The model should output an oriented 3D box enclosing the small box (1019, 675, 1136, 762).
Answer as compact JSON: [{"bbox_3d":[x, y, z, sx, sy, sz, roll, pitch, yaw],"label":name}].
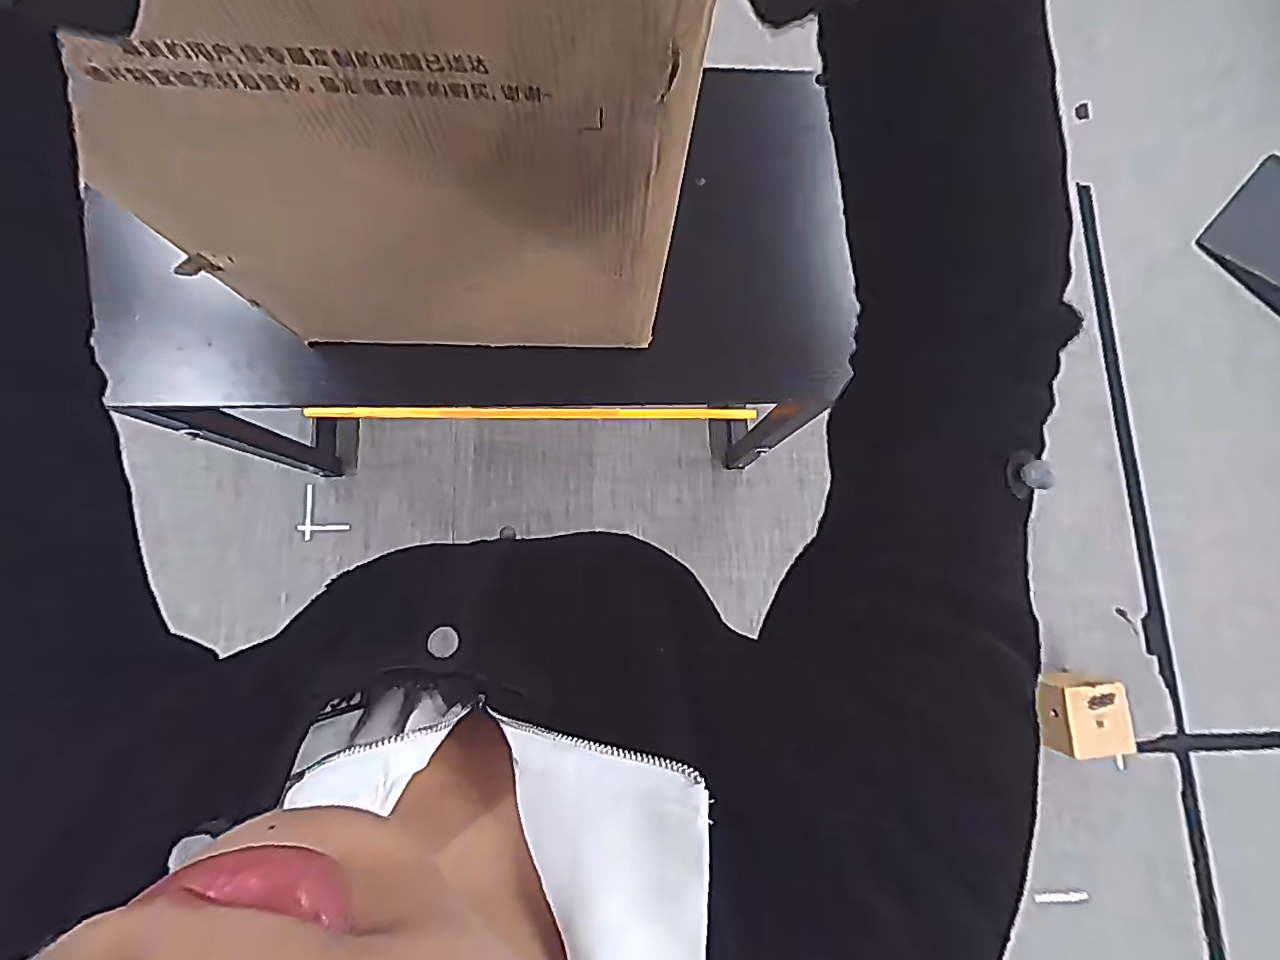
[{"bbox_3d":[1.156,0.626,1.444,0.168,0.176,0.179,-3,82,-4],"label":"small box"}]
